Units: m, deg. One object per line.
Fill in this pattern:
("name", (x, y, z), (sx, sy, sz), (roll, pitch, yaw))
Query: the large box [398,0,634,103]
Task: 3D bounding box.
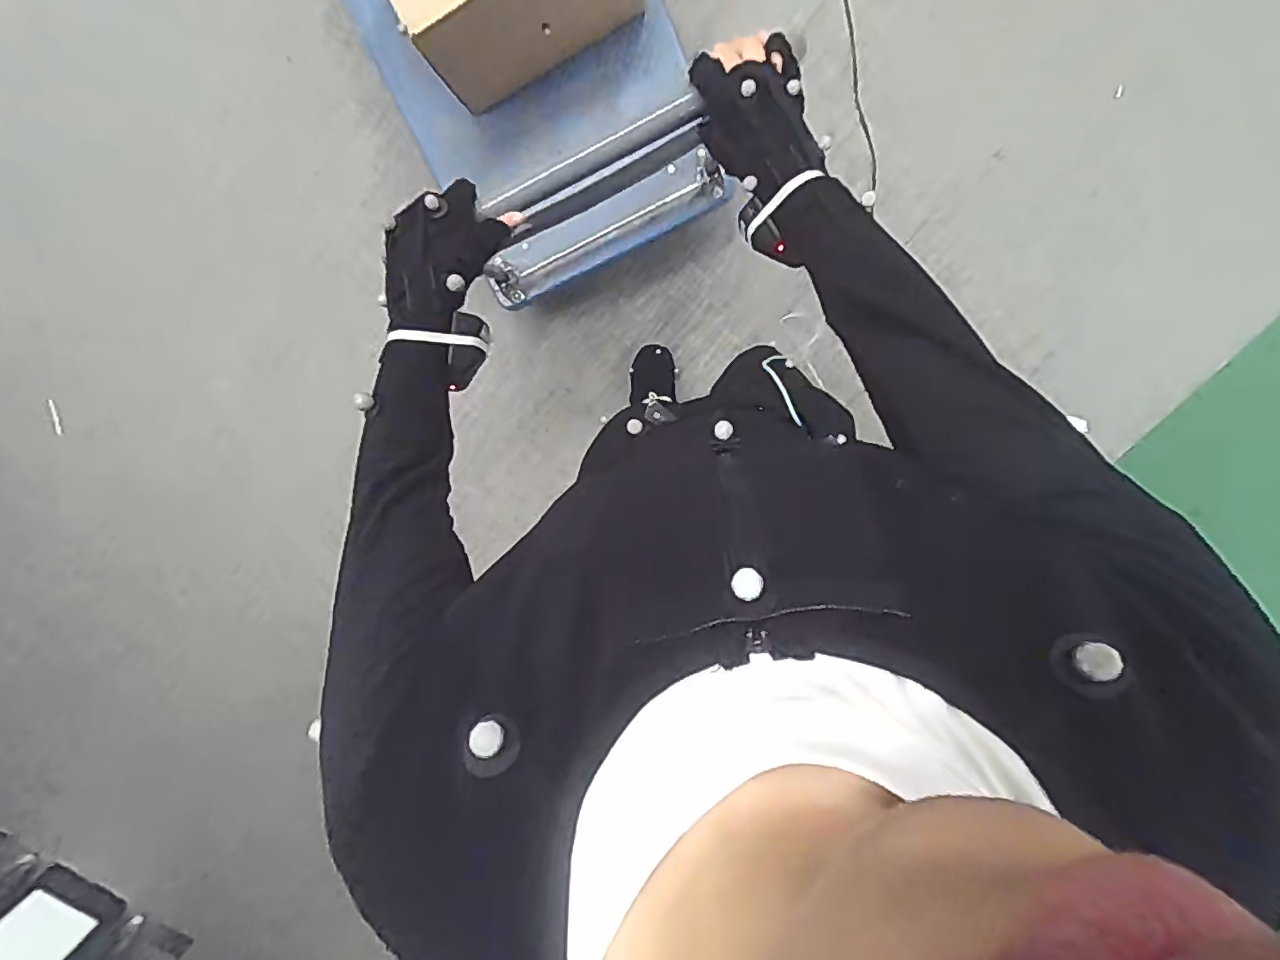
("large box", (-0.237, -0.952, 0.915), (0.408, 0.320, 0.320), (-26, 102, 10))
